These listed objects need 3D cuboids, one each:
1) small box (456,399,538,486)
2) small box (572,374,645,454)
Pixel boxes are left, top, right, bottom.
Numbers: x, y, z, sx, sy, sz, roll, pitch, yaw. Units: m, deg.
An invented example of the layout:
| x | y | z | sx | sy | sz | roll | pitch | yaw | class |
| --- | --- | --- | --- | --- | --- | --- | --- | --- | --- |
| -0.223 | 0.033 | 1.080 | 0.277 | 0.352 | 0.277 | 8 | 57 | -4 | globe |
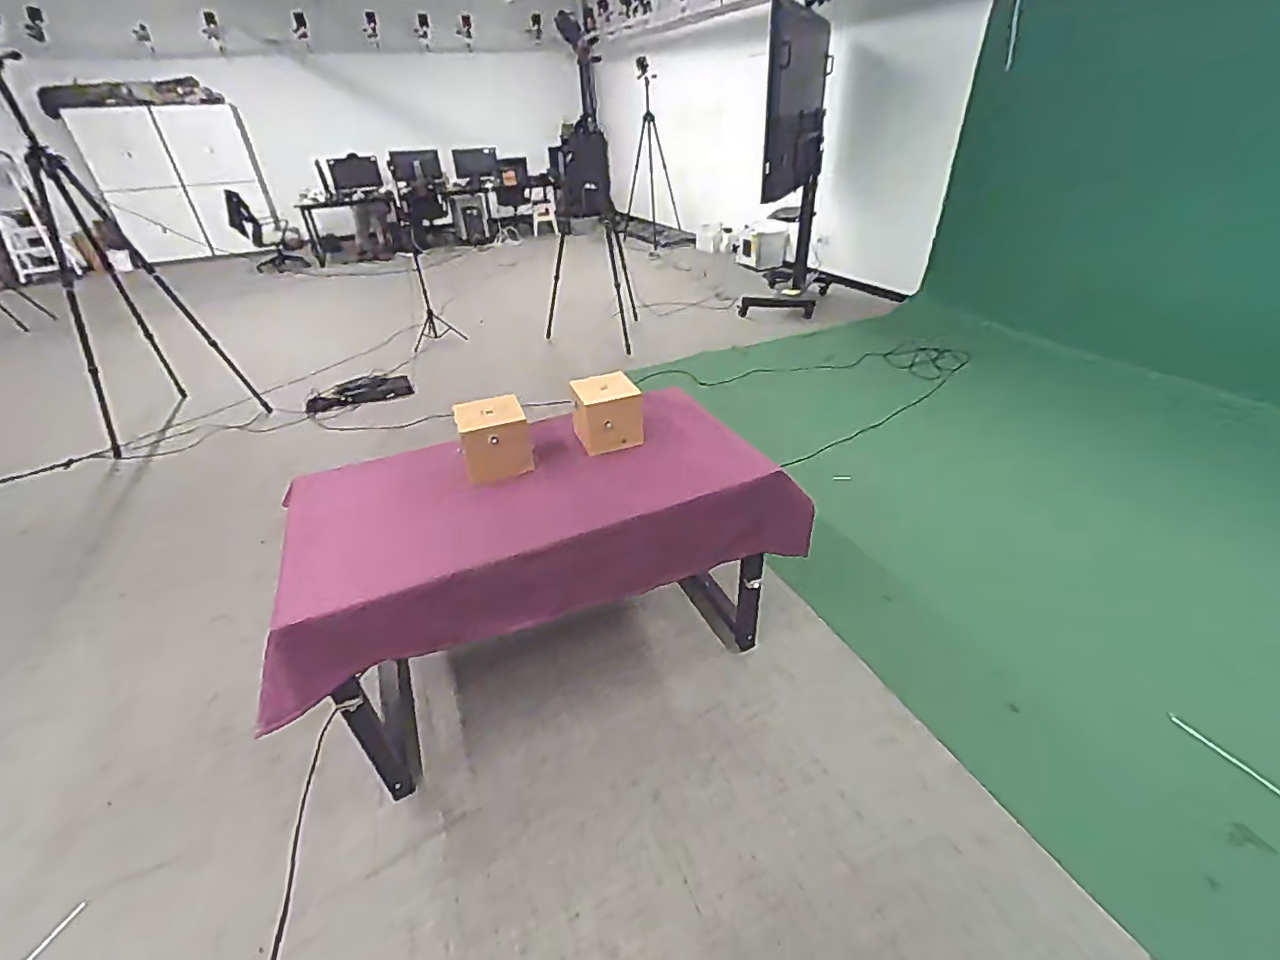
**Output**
| x | y | z | sx | sy | sz | roll | pitch | yaw | class |
| --- | --- | --- | --- | --- | --- | --- | --- | --- | --- |
| -0.392 | -0.102 | 1.490 | 0.179 | 0.176 | 0.168 | -14 | 36 | -16 | small box |
| -0.091 | -0.189 | 1.586 | 0.168 | 0.176 | 0.179 | -15 | 35 | -15 | small box |
